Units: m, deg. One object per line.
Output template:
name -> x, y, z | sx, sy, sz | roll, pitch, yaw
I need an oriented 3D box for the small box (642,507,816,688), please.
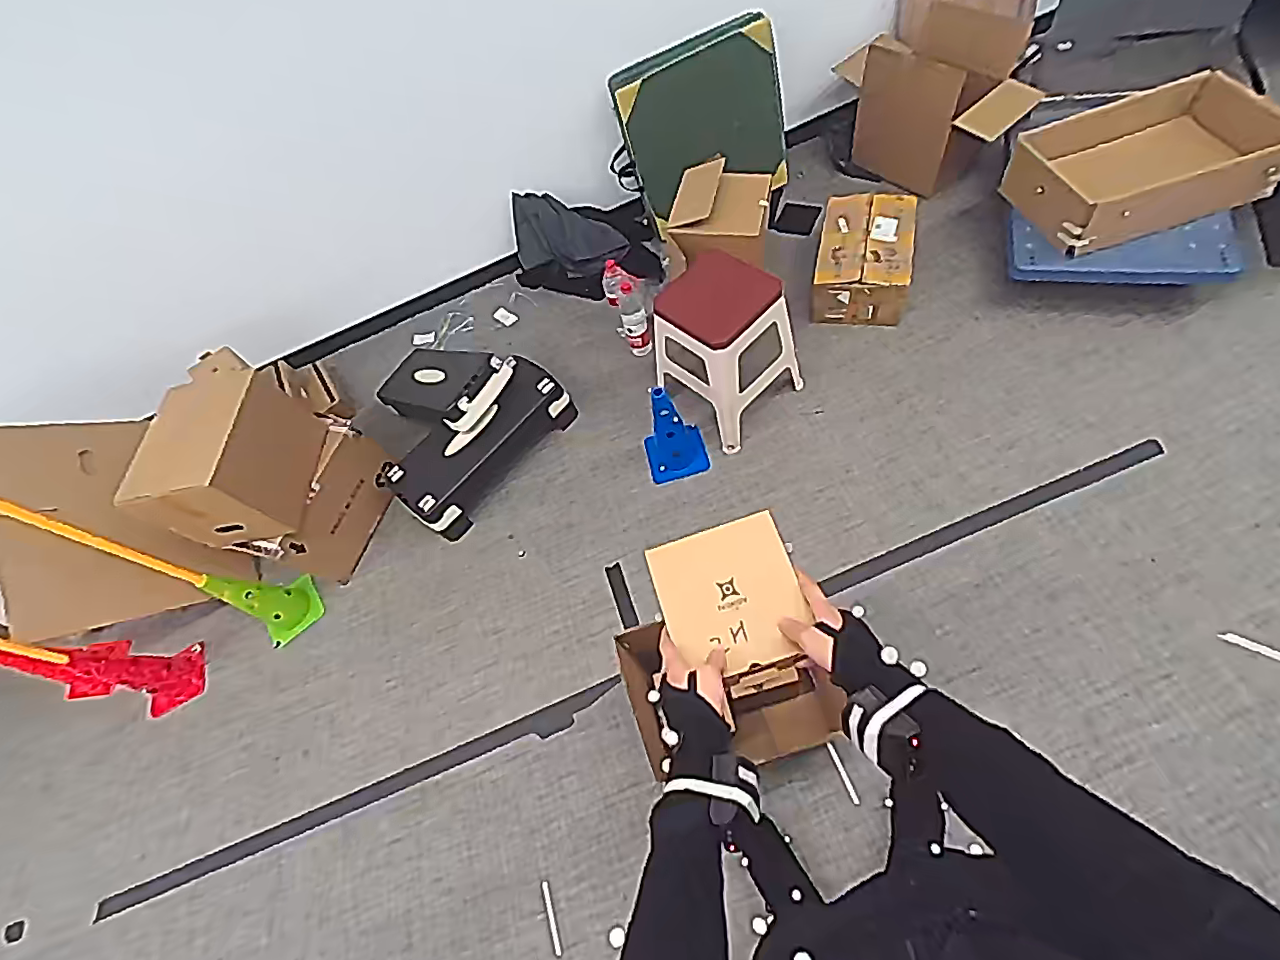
small box -> 0.113, 0.163, 0.713 | 0.168, 0.176, 0.179 | -19, 65, 4
